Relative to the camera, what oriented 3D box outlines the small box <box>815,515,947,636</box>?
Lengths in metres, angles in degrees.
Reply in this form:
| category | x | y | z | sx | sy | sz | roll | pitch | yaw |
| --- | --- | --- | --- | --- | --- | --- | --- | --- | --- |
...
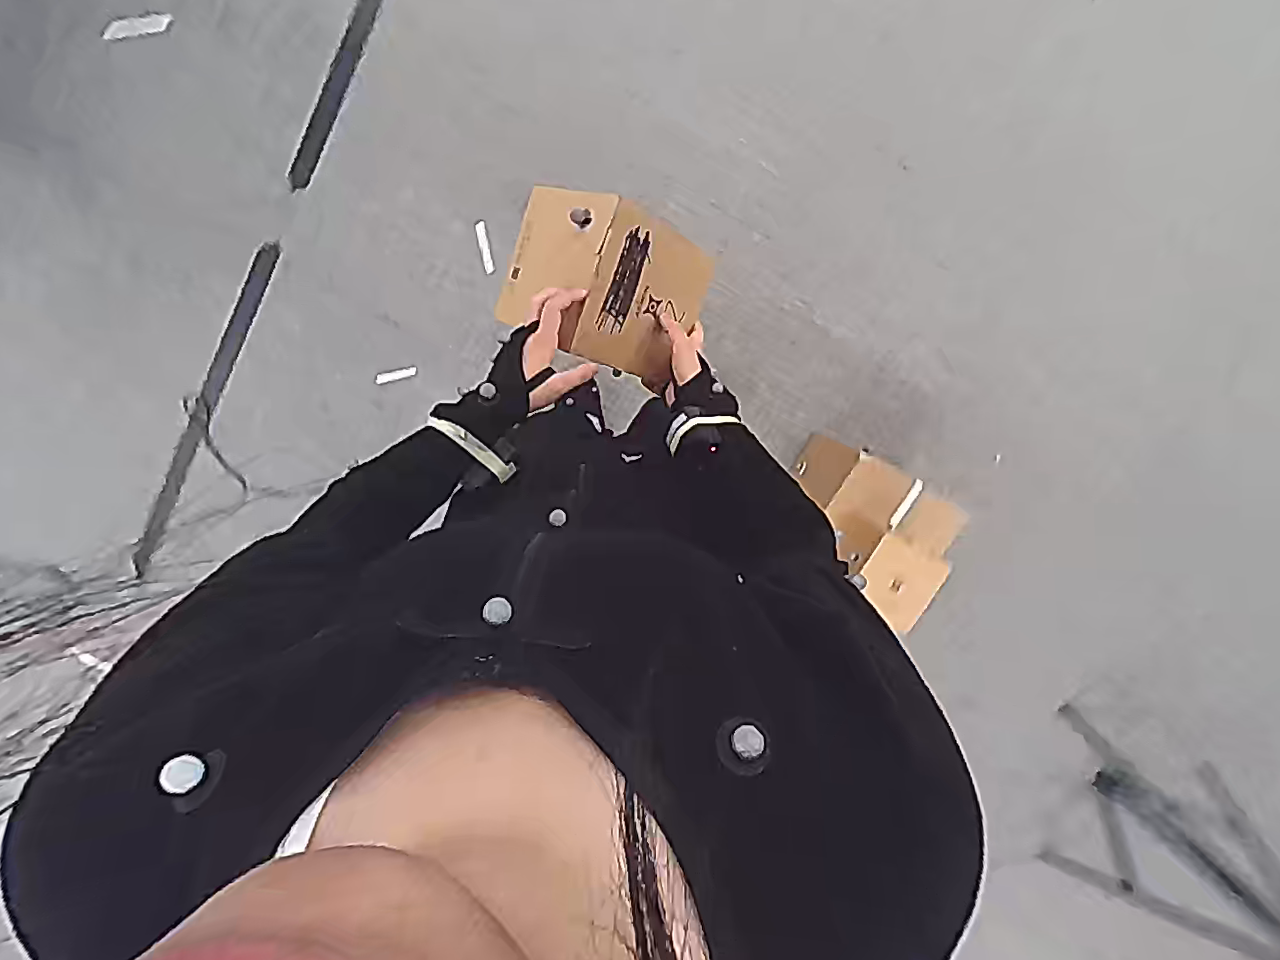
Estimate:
| category | x | y | z | sx | sy | sz | roll | pitch | yaw |
| --- | --- | --- | --- | --- | --- | --- | --- | --- | --- |
| small box | 0.513 | 0.199 | 1.181 | 0.168 | 0.176 | 0.179 | 28 | 101 | -7 |
